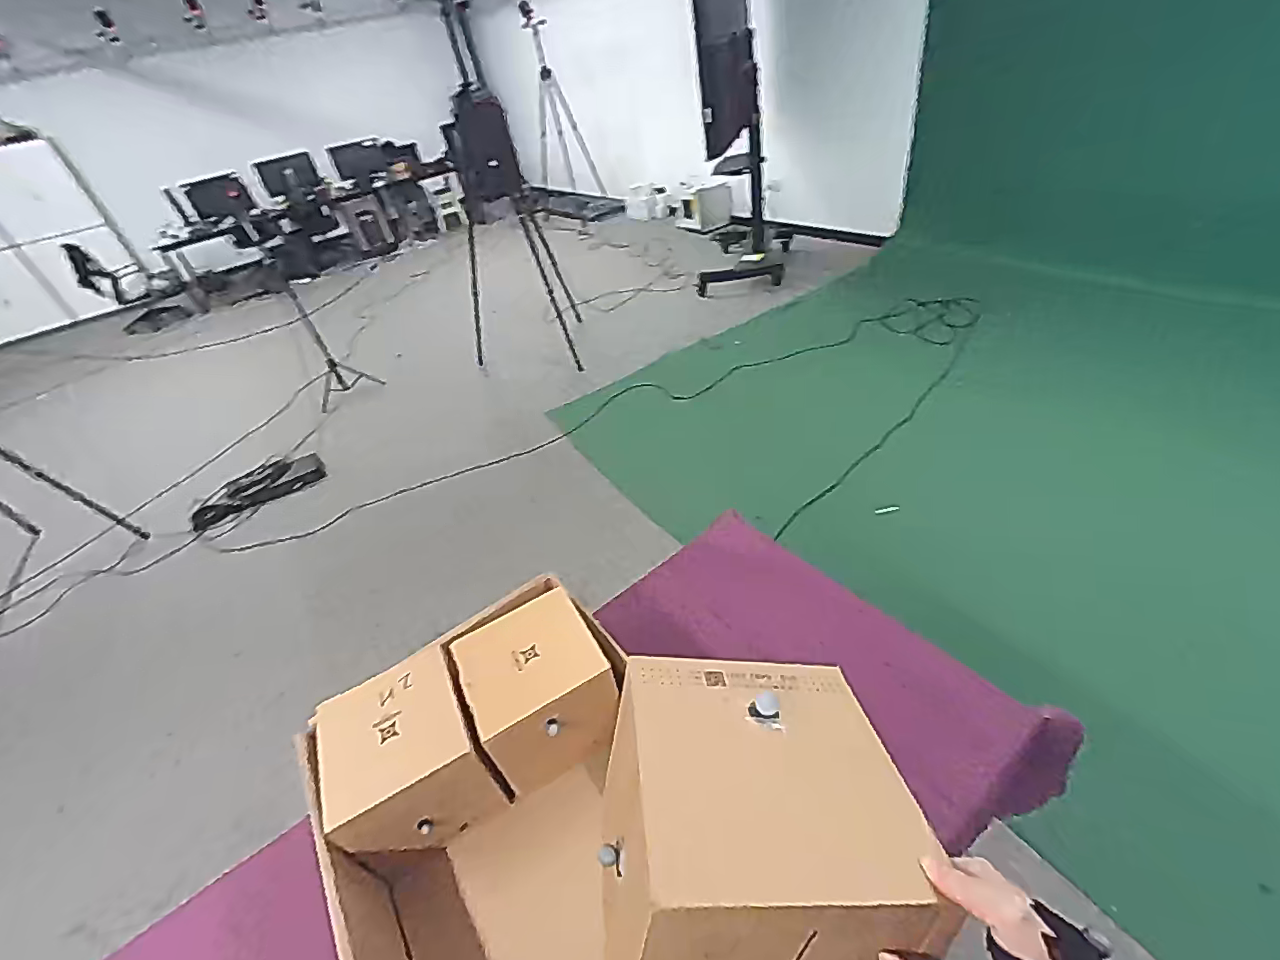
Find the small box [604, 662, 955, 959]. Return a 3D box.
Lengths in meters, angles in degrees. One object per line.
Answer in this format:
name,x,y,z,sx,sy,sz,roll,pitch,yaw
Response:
small box,0.065,0.254,0.372,0.168,0.179,0.176,5,22,-7
